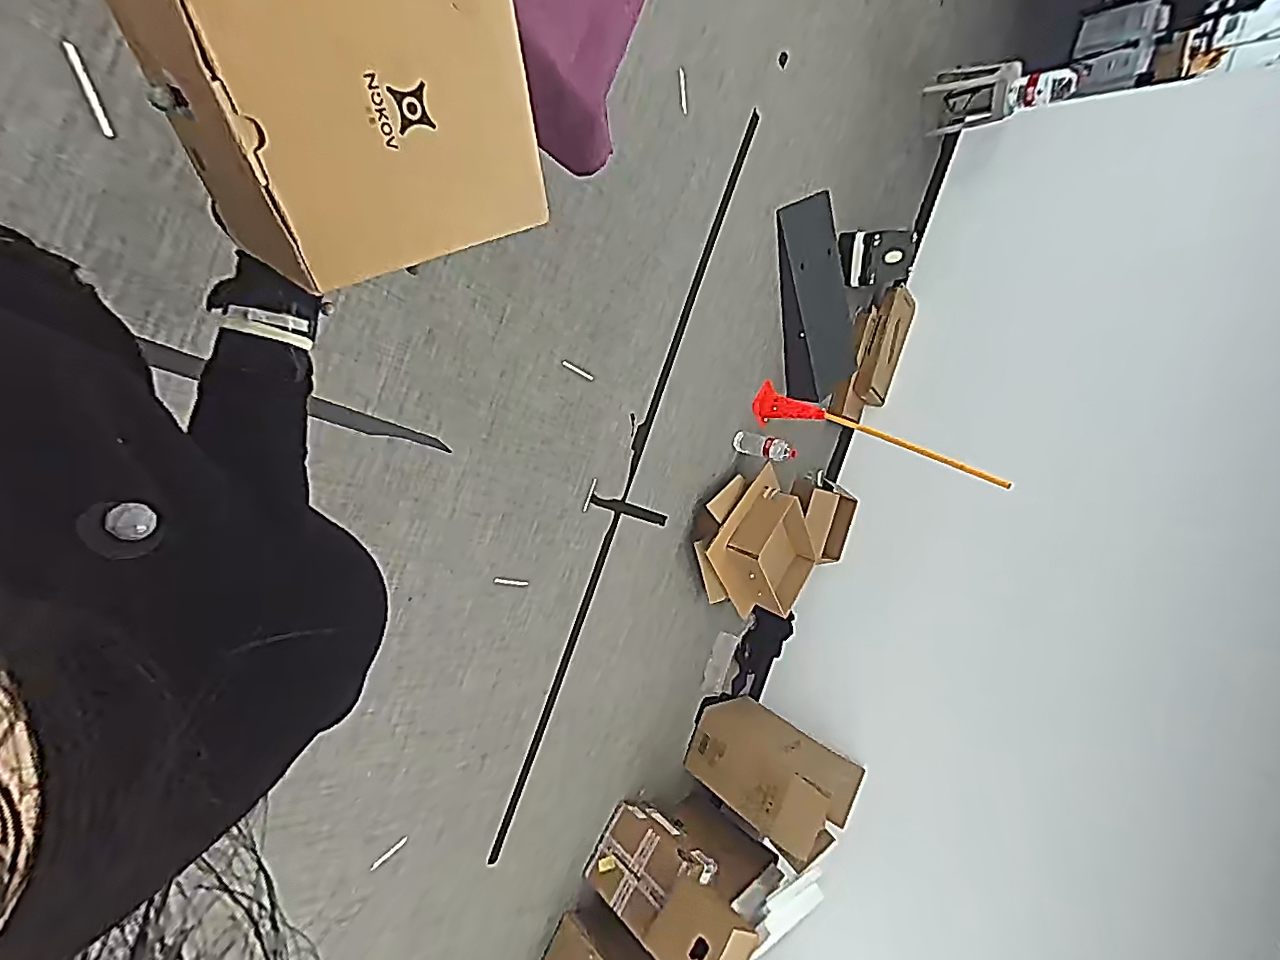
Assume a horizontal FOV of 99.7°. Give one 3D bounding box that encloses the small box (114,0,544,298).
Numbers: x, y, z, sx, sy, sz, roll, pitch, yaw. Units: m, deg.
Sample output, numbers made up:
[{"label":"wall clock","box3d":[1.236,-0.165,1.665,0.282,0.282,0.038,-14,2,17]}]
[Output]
[{"label":"small box","box3d":[-0.195,-0.249,0.366,0.179,0.176,0.168,-35,139,-30]}]
